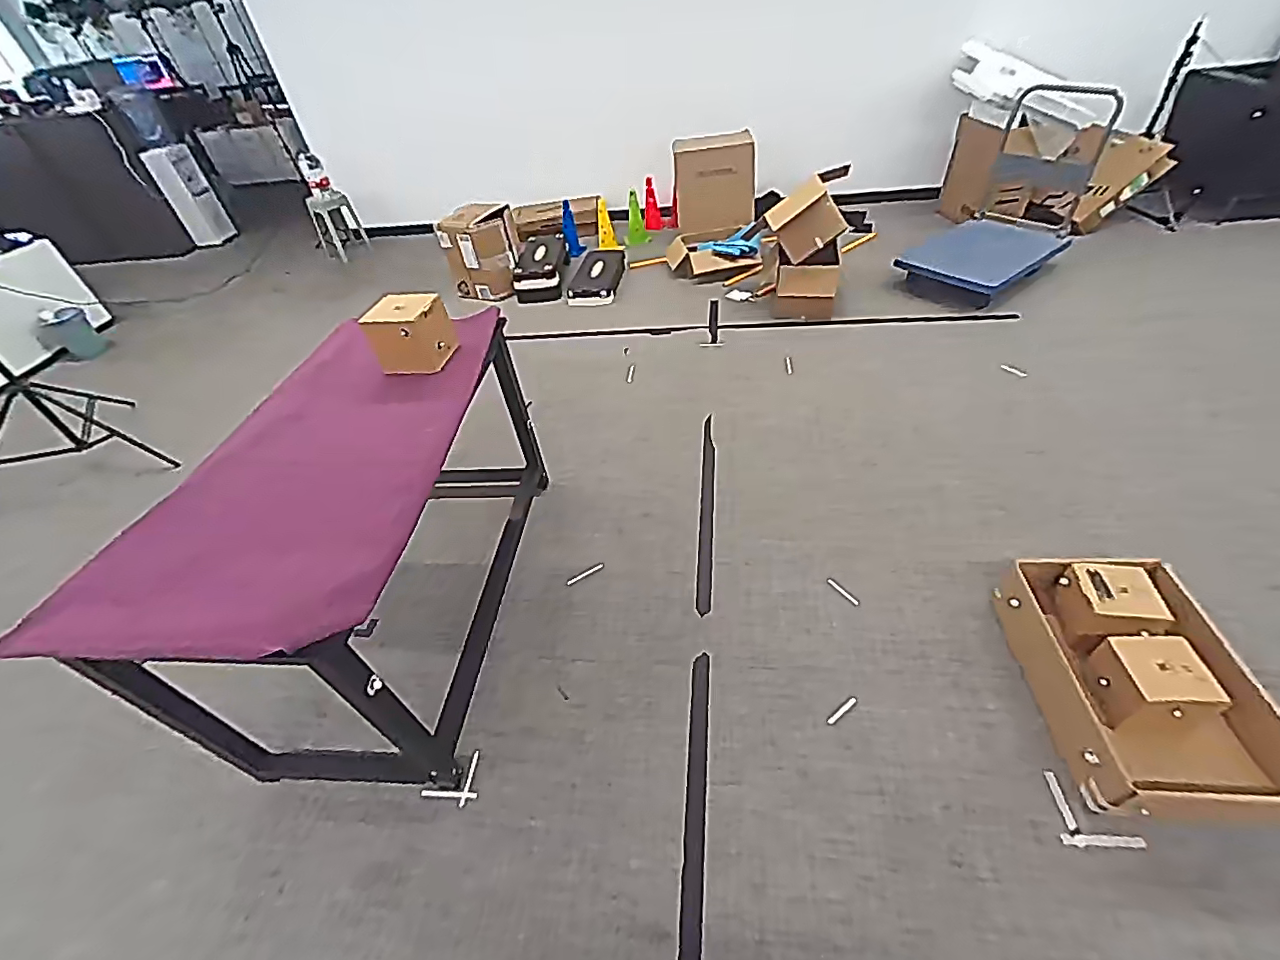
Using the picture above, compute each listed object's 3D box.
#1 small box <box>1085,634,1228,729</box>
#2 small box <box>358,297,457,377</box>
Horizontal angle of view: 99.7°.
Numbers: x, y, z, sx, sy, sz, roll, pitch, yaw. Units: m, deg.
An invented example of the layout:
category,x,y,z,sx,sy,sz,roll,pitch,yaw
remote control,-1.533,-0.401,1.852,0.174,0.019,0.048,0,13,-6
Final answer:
category,x,y,z,sx,sy,sz,roll,pitch,yaw
small box,1.247,0.496,1.329,0.179,0.176,0.168,-2,43,7
small box,-0.663,-0.411,1.565,0.179,0.176,0.168,1,44,11
